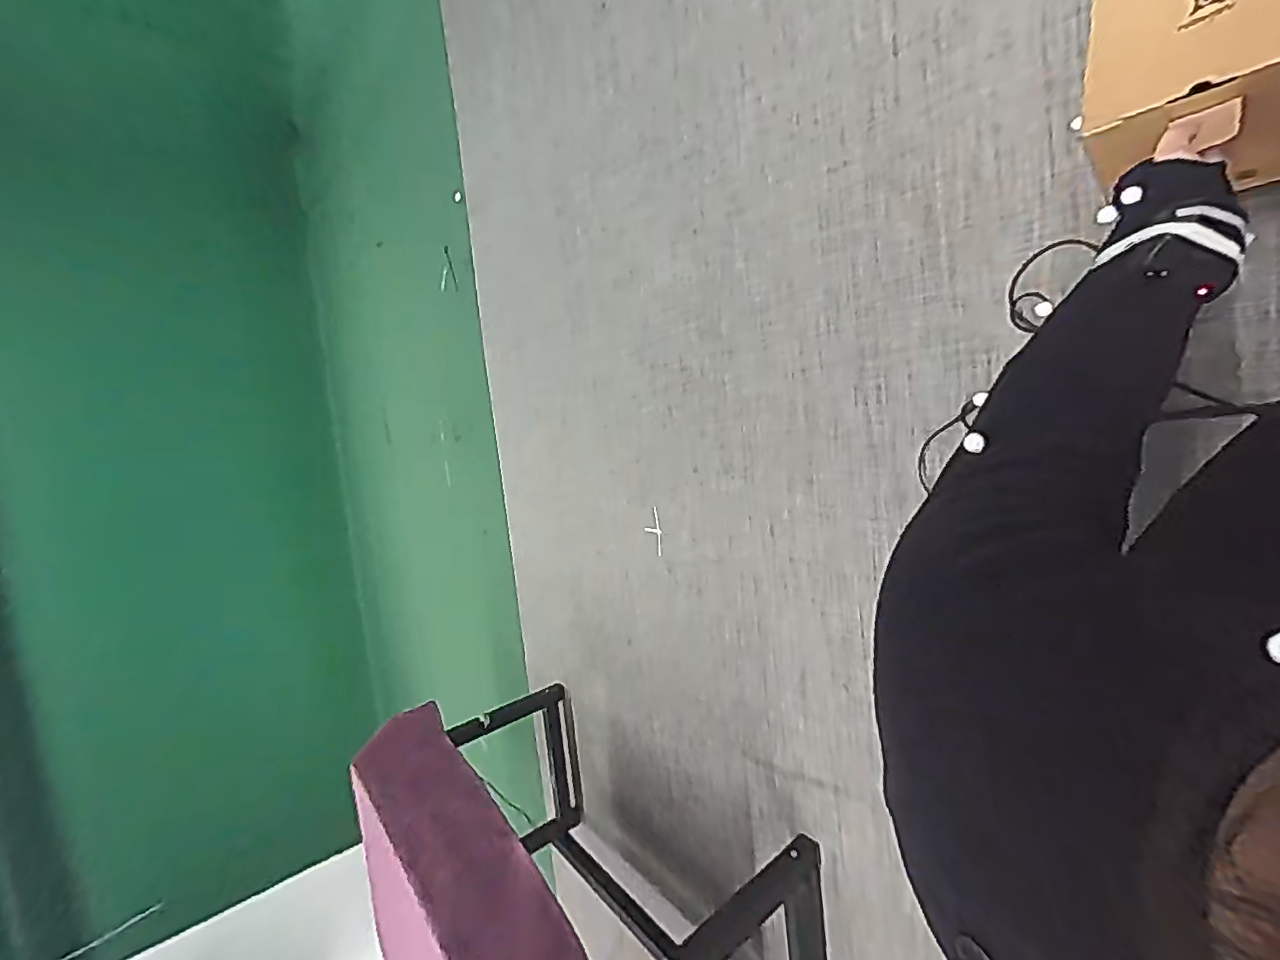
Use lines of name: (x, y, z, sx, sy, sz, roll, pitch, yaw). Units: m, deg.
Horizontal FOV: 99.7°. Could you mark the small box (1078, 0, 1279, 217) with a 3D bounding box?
small box: (0.563, -0.403, 0.536, 0.168, 0.176, 0.179, 3, 82, 50)
